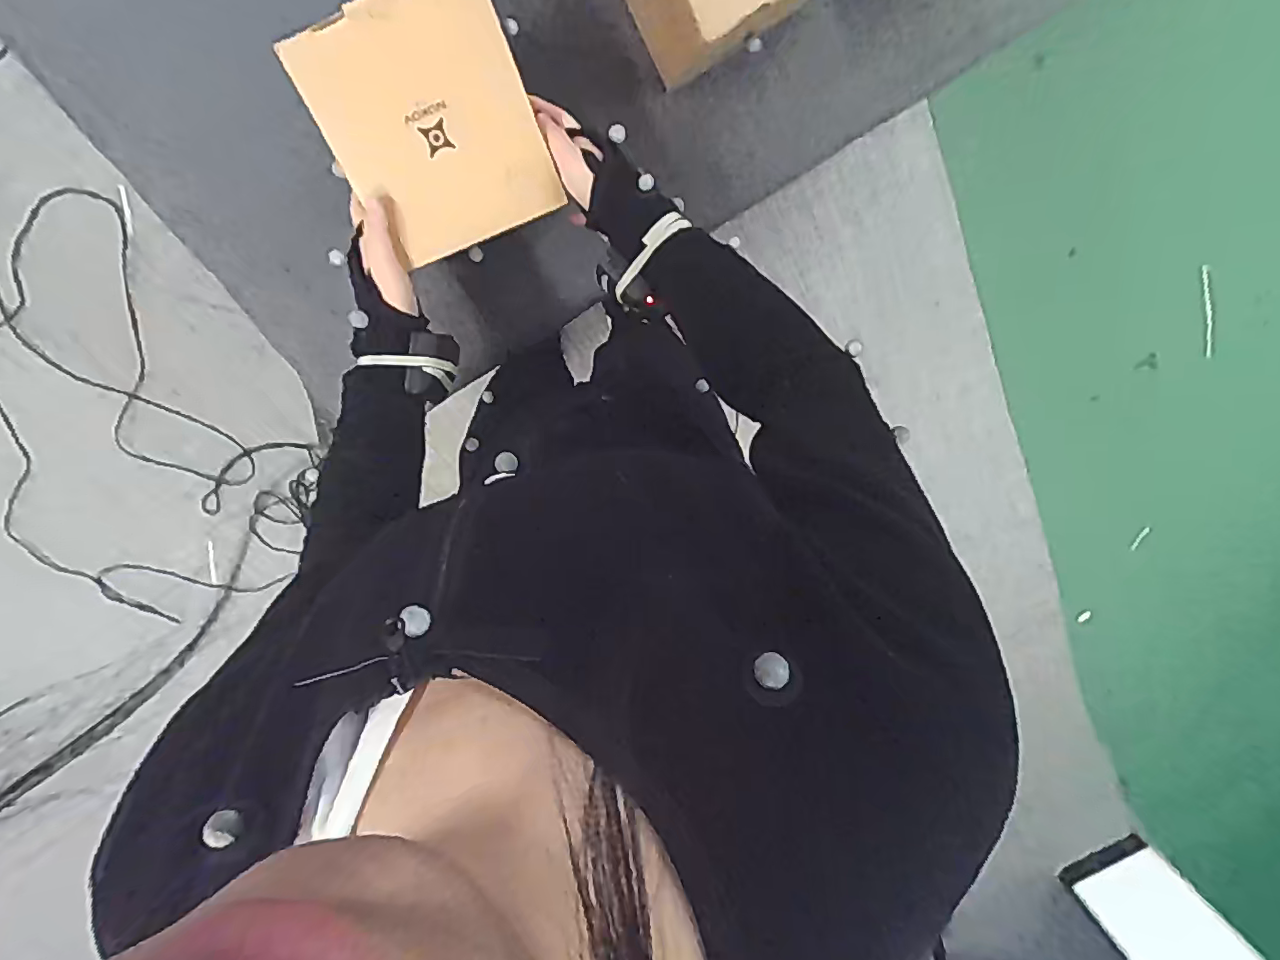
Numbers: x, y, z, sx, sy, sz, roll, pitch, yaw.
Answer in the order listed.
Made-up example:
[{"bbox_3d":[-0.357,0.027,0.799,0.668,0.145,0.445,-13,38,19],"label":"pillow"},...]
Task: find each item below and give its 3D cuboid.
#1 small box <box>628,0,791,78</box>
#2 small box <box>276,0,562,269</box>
[{"bbox_3d":[0.065,-0.508,0.478,0.168,0.176,0.179,-31,116,6],"label":"small box"},{"bbox_3d":[-0.181,-0.323,0.510,0.168,0.176,0.179,-22,118,2],"label":"small box"}]
